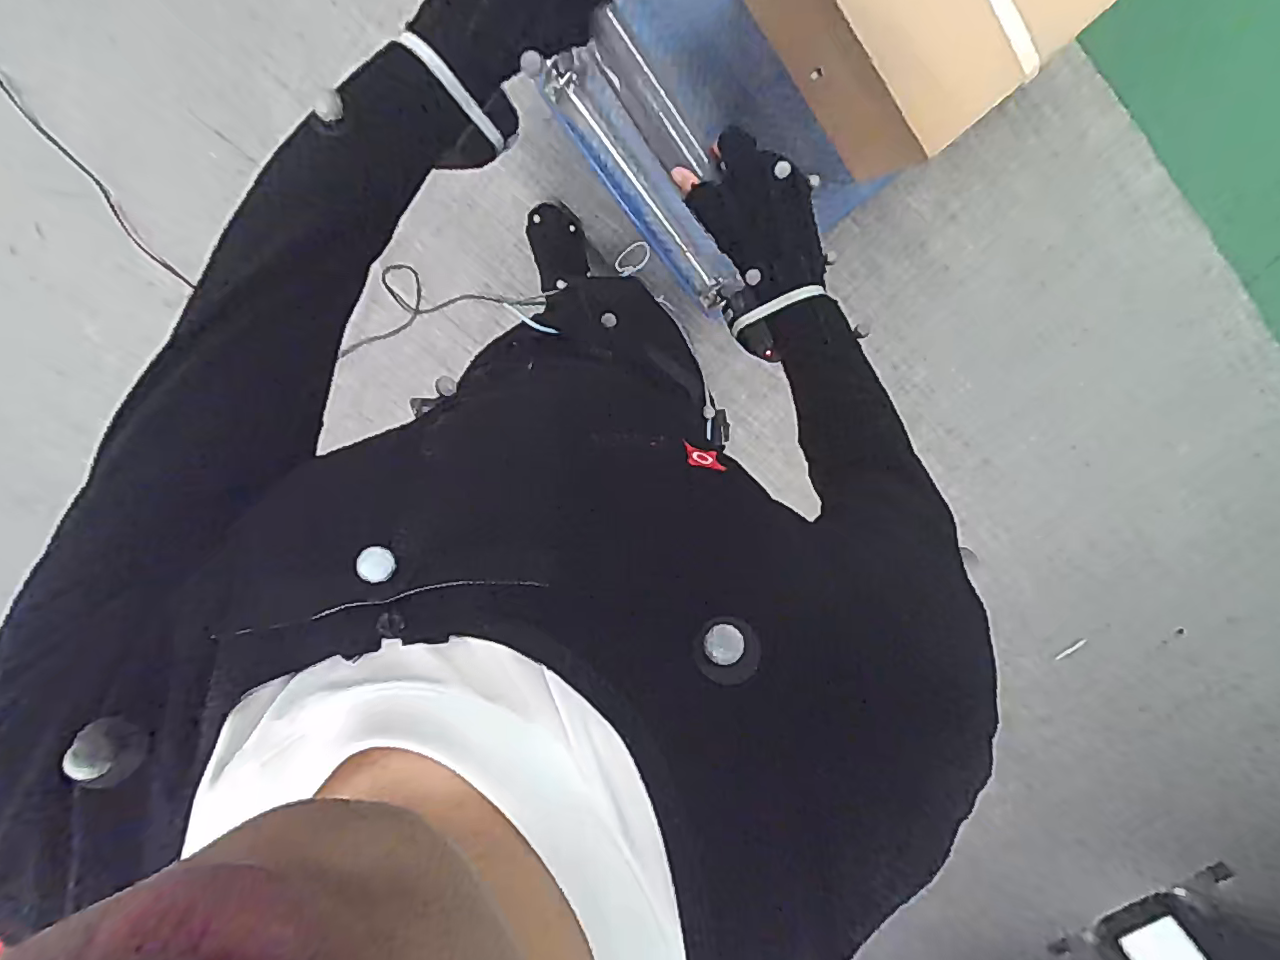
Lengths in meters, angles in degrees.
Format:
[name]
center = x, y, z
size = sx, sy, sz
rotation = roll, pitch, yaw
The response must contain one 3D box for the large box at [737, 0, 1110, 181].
[large box]
center = 0.402, -0.752, 0.833
size = 0.320, 0.320, 0.408
rotation = -38, 107, 16
